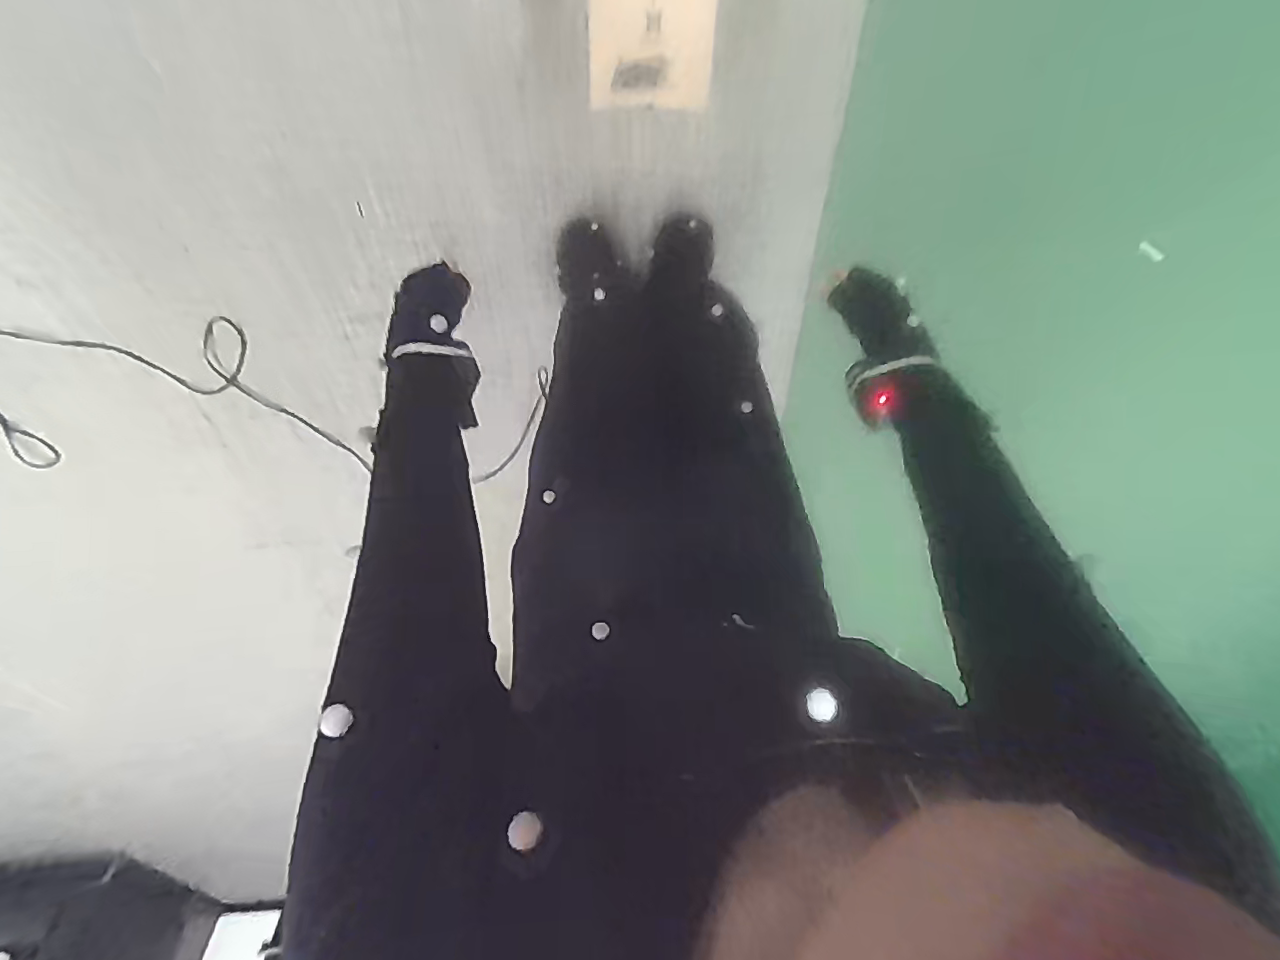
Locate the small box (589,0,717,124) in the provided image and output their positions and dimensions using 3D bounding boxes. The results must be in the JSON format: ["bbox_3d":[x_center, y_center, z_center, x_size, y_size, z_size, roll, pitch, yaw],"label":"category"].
[{"bbox_3d":[0.011,-0.625,0.768,0.168,0.176,0.179,-1,130,-4],"label":"small box"}]
